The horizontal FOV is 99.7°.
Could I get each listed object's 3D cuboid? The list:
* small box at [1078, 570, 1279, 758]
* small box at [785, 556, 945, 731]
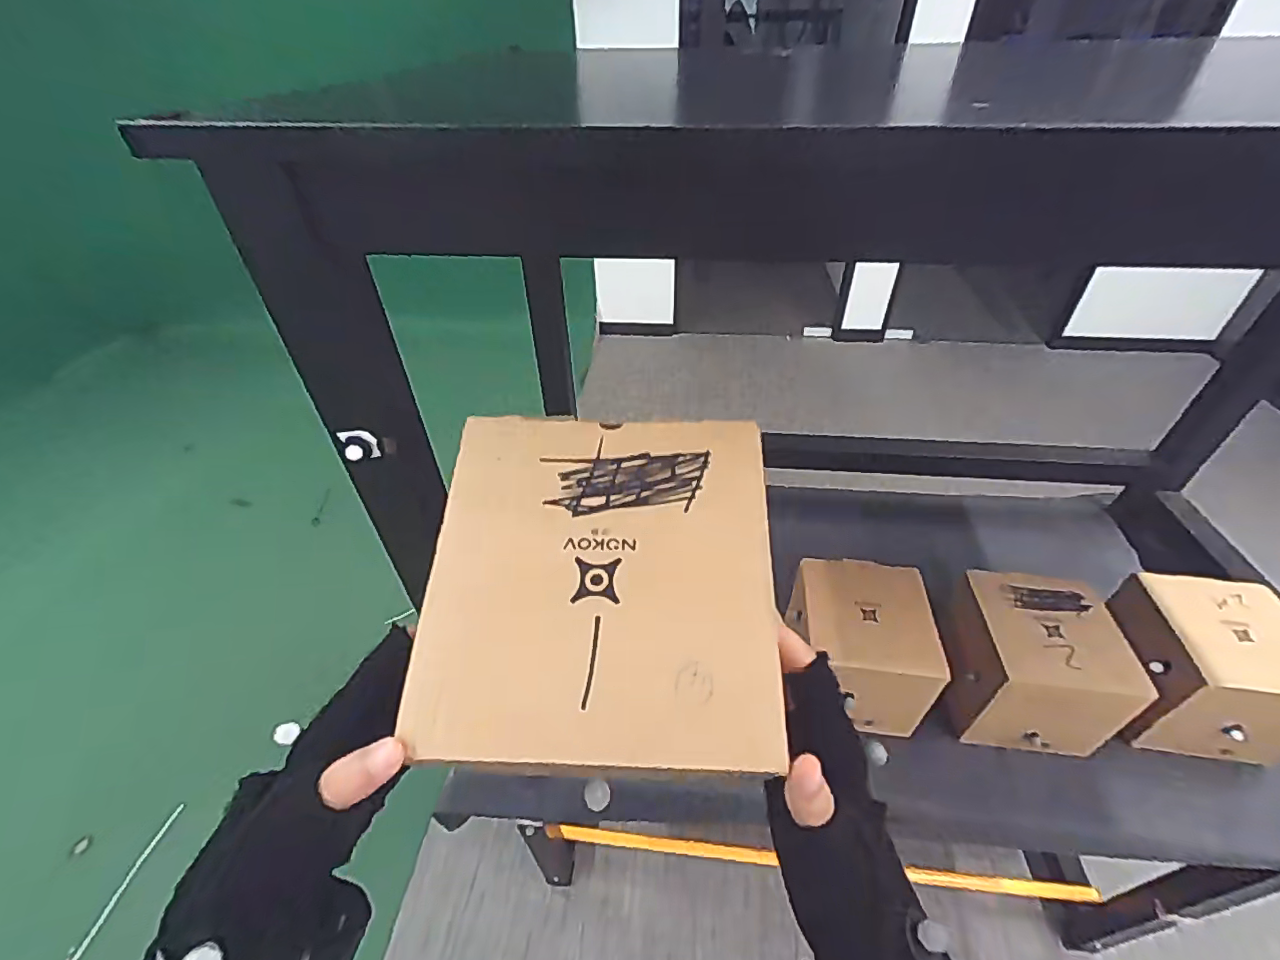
[{"bbox_3d":[0.756,0.250,0.737,0.168,0.176,0.179,6,41,8],"label":"small box"},{"bbox_3d":[0.305,0.234,0.776,0.168,0.176,0.179,4,41,8],"label":"small box"}]
